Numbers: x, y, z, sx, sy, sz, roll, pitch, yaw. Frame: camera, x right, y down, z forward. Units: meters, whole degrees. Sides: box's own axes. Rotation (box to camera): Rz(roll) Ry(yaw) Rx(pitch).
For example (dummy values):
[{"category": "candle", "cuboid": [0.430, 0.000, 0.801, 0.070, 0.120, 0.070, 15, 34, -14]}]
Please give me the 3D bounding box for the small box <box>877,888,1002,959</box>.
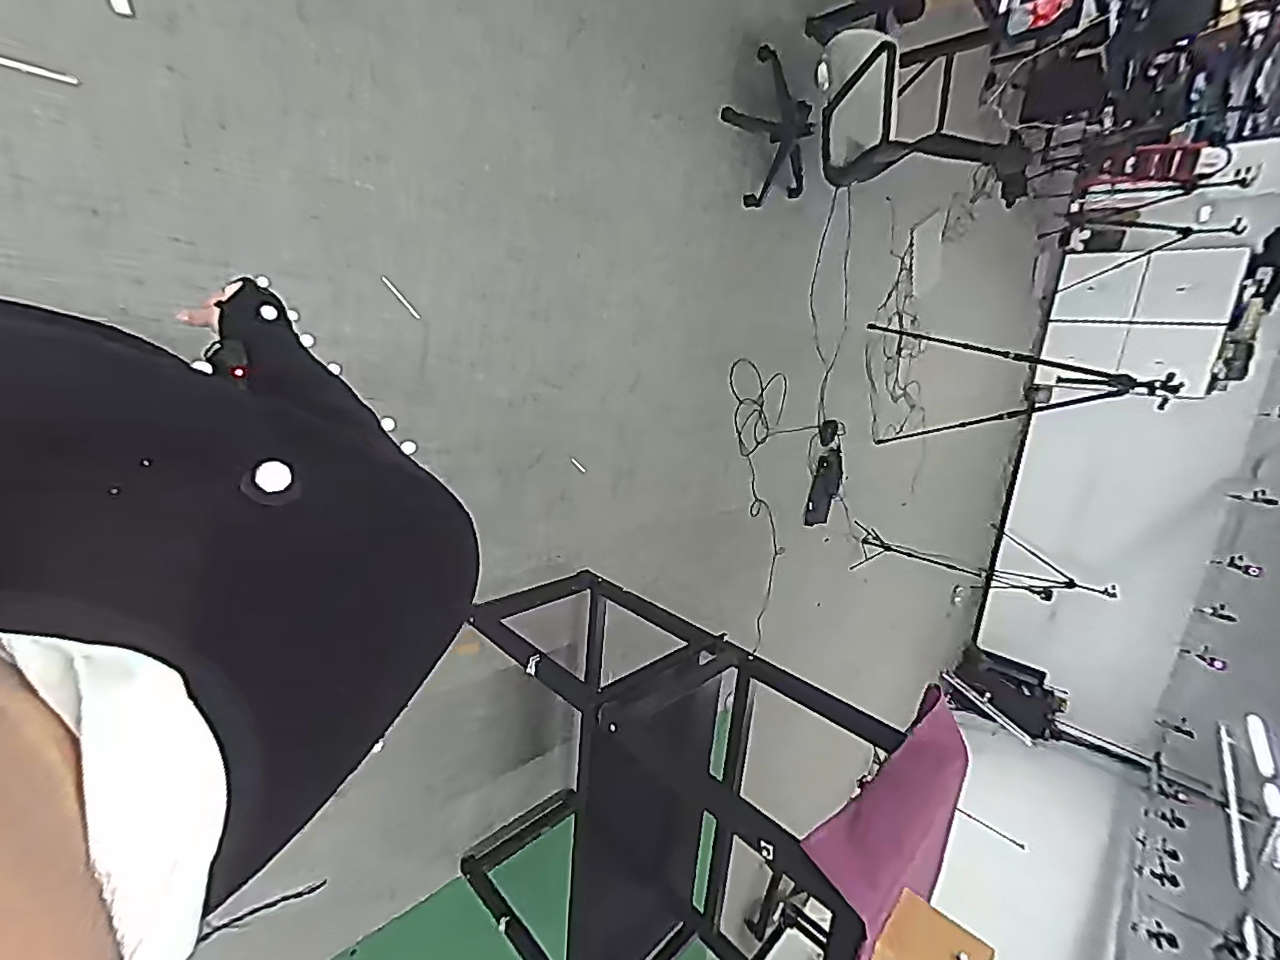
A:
[{"category": "small box", "cuboid": [0.542, 0.924, 1.002, 0.179, 0.176, 0.168, -4, 106, -47]}]
